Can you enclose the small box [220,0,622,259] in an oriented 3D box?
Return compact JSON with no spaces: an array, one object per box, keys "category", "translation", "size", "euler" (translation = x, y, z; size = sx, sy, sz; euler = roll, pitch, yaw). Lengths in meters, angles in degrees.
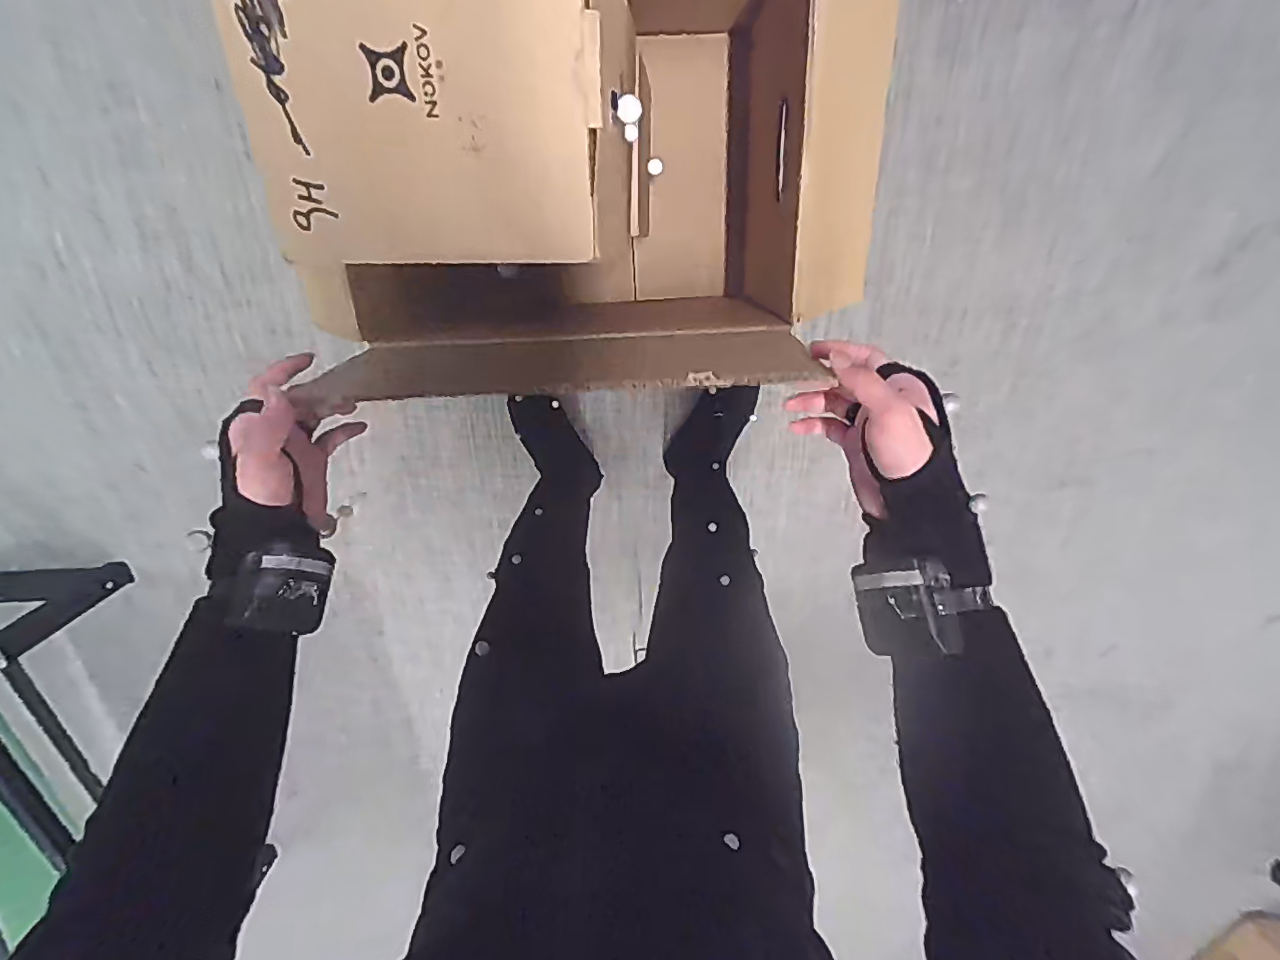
[{"category":"small box","translation":[-0.101,-0.229,0.325],"size":[0.179,0.176,0.168],"euler":[2,116,3]}]
